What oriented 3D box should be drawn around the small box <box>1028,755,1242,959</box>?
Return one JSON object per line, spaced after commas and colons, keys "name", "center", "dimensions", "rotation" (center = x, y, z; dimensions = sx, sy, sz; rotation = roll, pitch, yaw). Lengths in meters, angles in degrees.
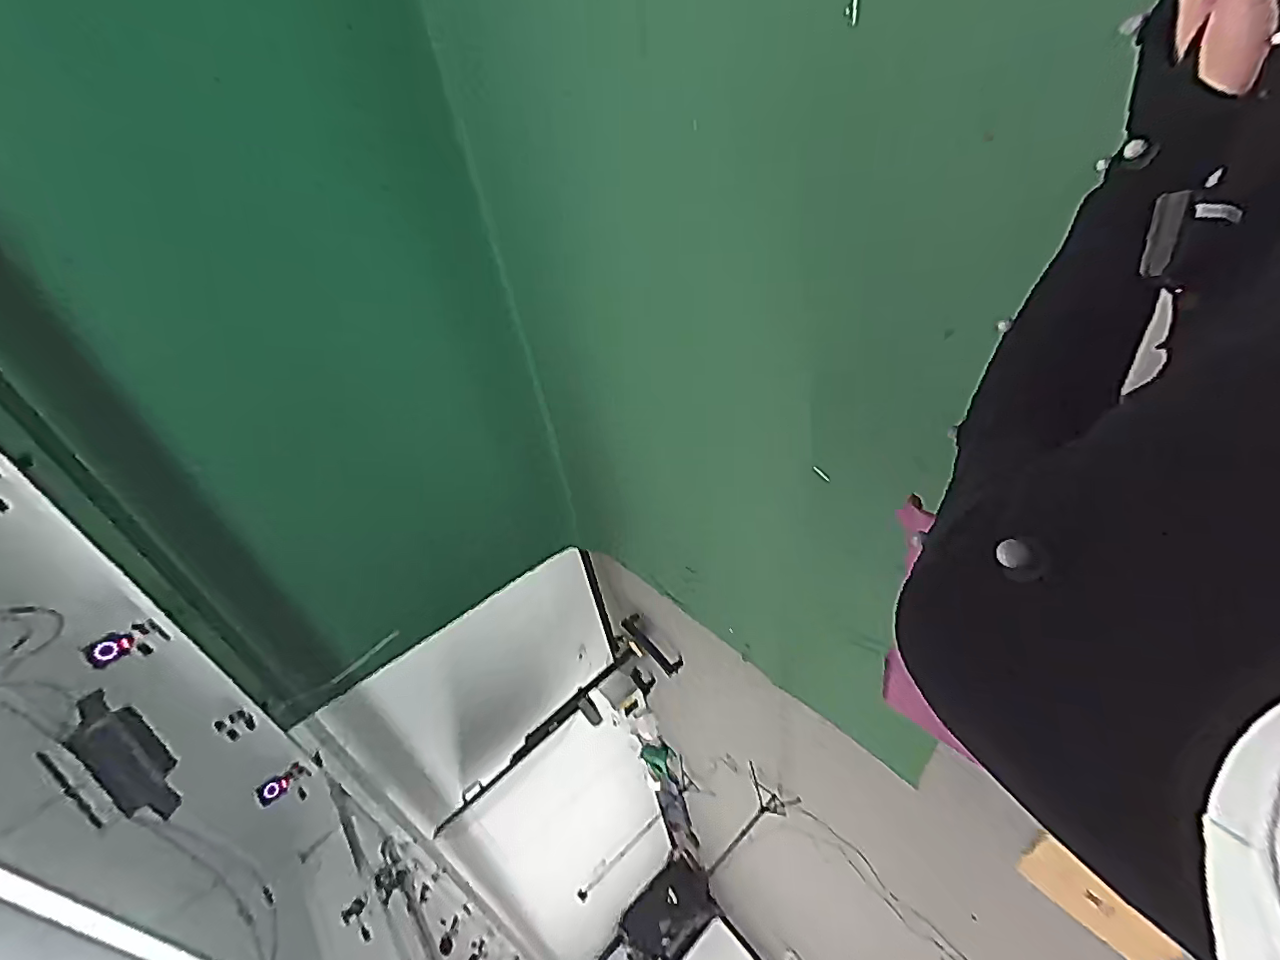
{"name": "small box", "center": [0.749, 0.568, 0.826], "dimensions": [0.179, 0.176, 0.168], "rotation": [33, 144, 38]}
